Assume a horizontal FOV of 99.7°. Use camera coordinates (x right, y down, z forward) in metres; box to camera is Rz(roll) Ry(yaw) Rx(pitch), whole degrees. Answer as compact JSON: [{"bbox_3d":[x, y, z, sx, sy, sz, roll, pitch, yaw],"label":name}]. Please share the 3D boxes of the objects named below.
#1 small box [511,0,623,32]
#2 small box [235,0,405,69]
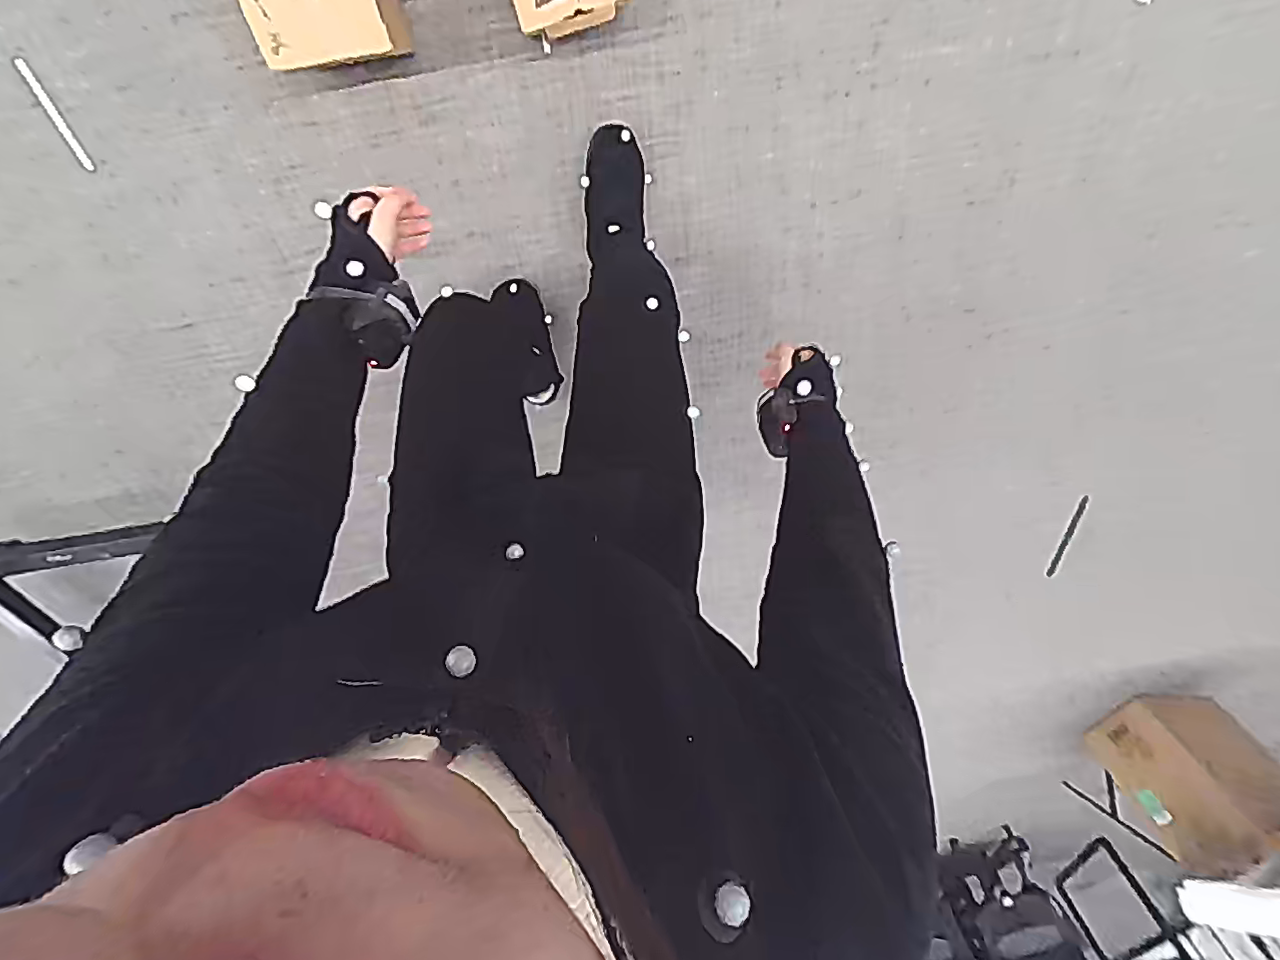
[{"bbox_3d":[-0.114,-0.750,0.745,0.168,0.176,0.179,-16,128,4],"label":"small box"},{"bbox_3d":[-0.444,-0.684,0.746,0.179,0.176,0.168,-11,129,-1],"label":"small box"}]
